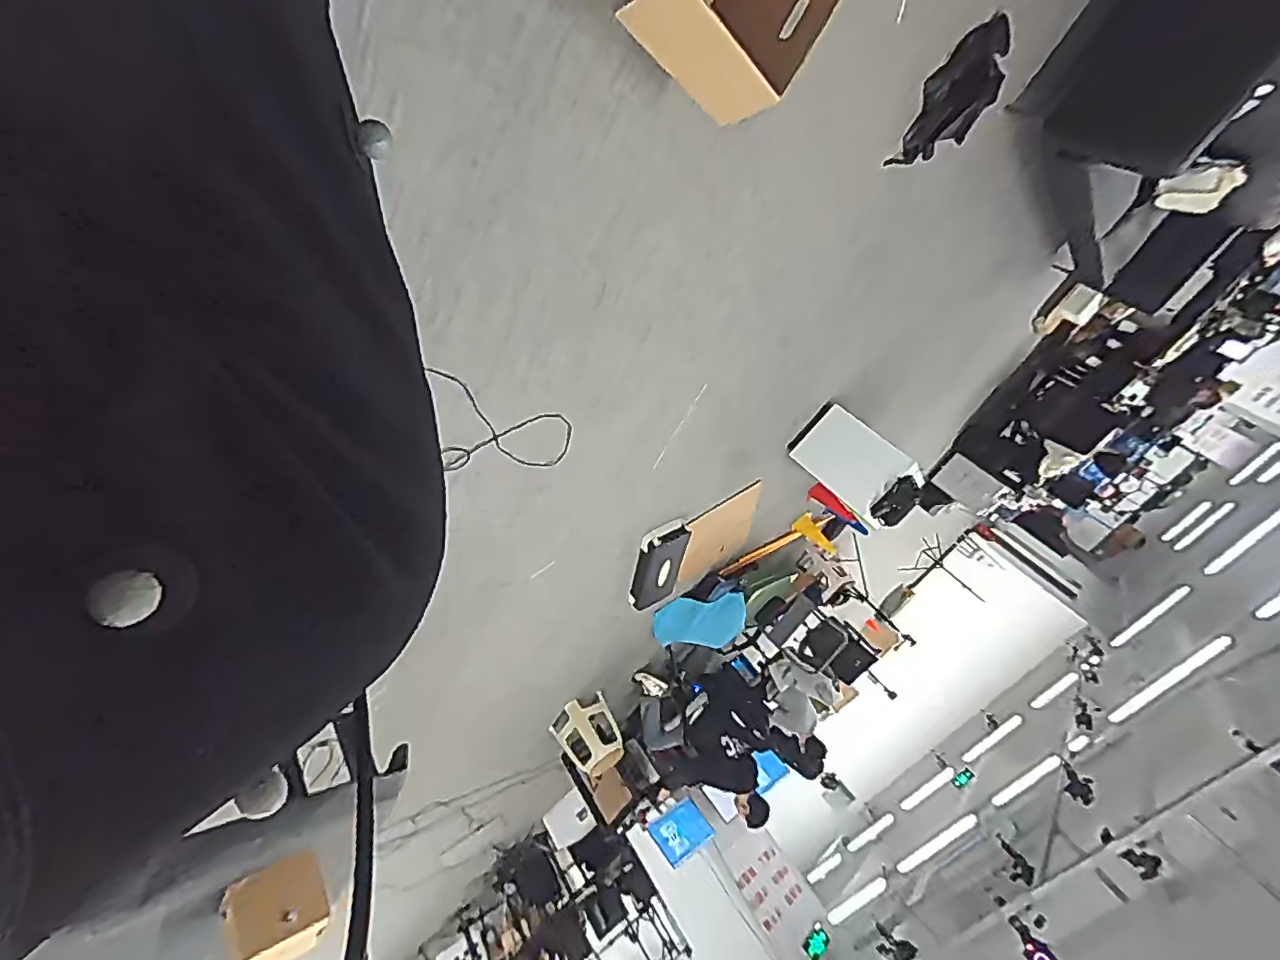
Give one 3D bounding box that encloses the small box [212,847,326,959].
[{"bbox_3d":[-0.864,1.003,1.255,0.179,0.176,0.168,3,127,-48],"label":"small box"}]
